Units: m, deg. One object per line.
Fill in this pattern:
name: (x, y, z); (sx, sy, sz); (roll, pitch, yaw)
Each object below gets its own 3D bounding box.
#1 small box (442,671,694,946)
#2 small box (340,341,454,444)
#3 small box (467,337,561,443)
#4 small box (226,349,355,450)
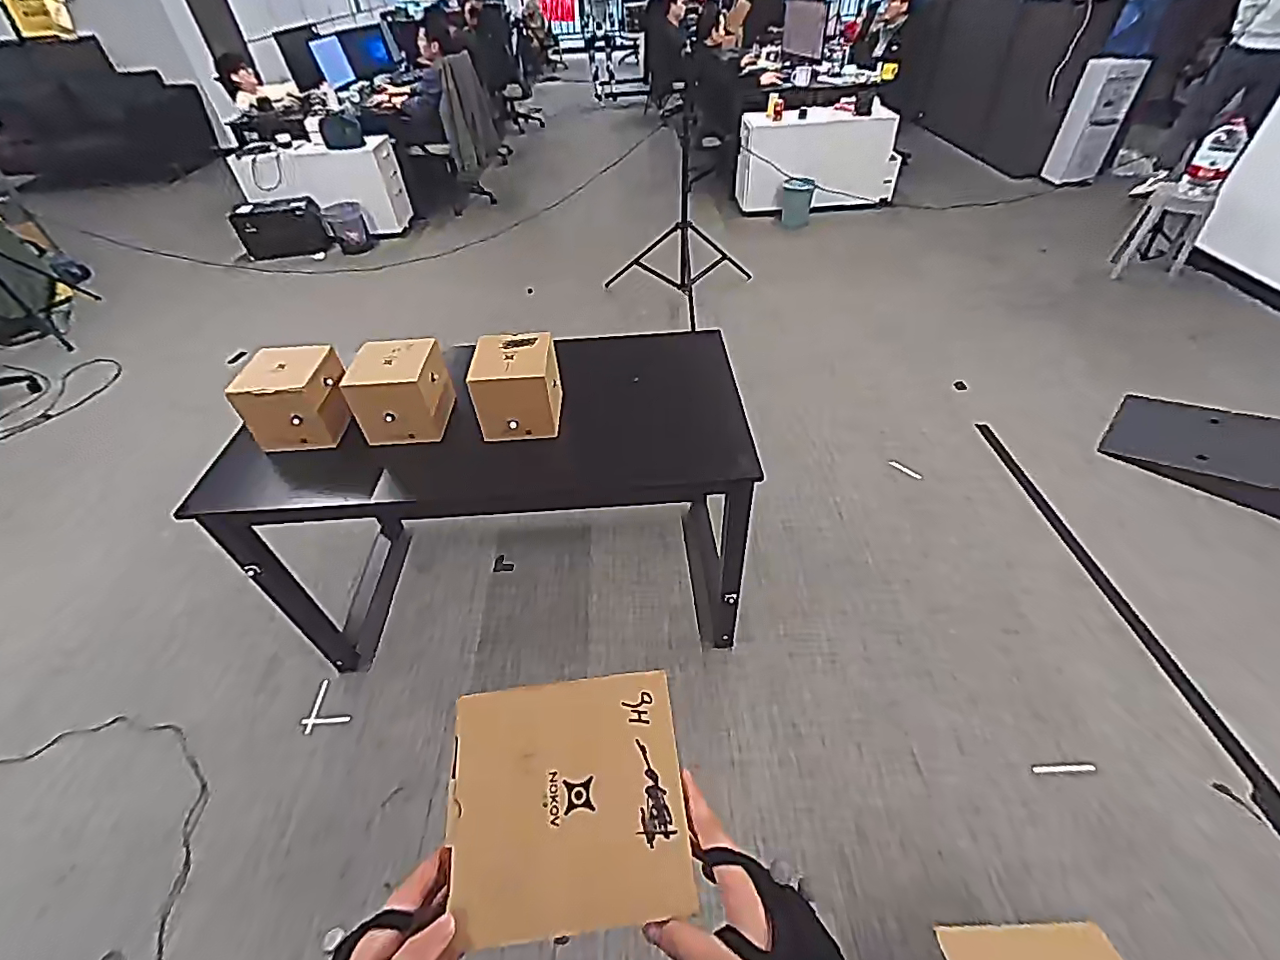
small box: (-0.053, 0.280, 0.475); (0.179, 0.176, 0.168); (-6, 58, -2)
small box: (-0.540, -0.195, 1.233); (0.168, 0.176, 0.179); (-3, 44, 0)
small box: (-0.275, -0.203, 1.226); (0.168, 0.176, 0.179); (-3, 45, 0)
small box: (-0.779, -0.179, 1.235); (0.168, 0.176, 0.179); (-3, 43, -1)
